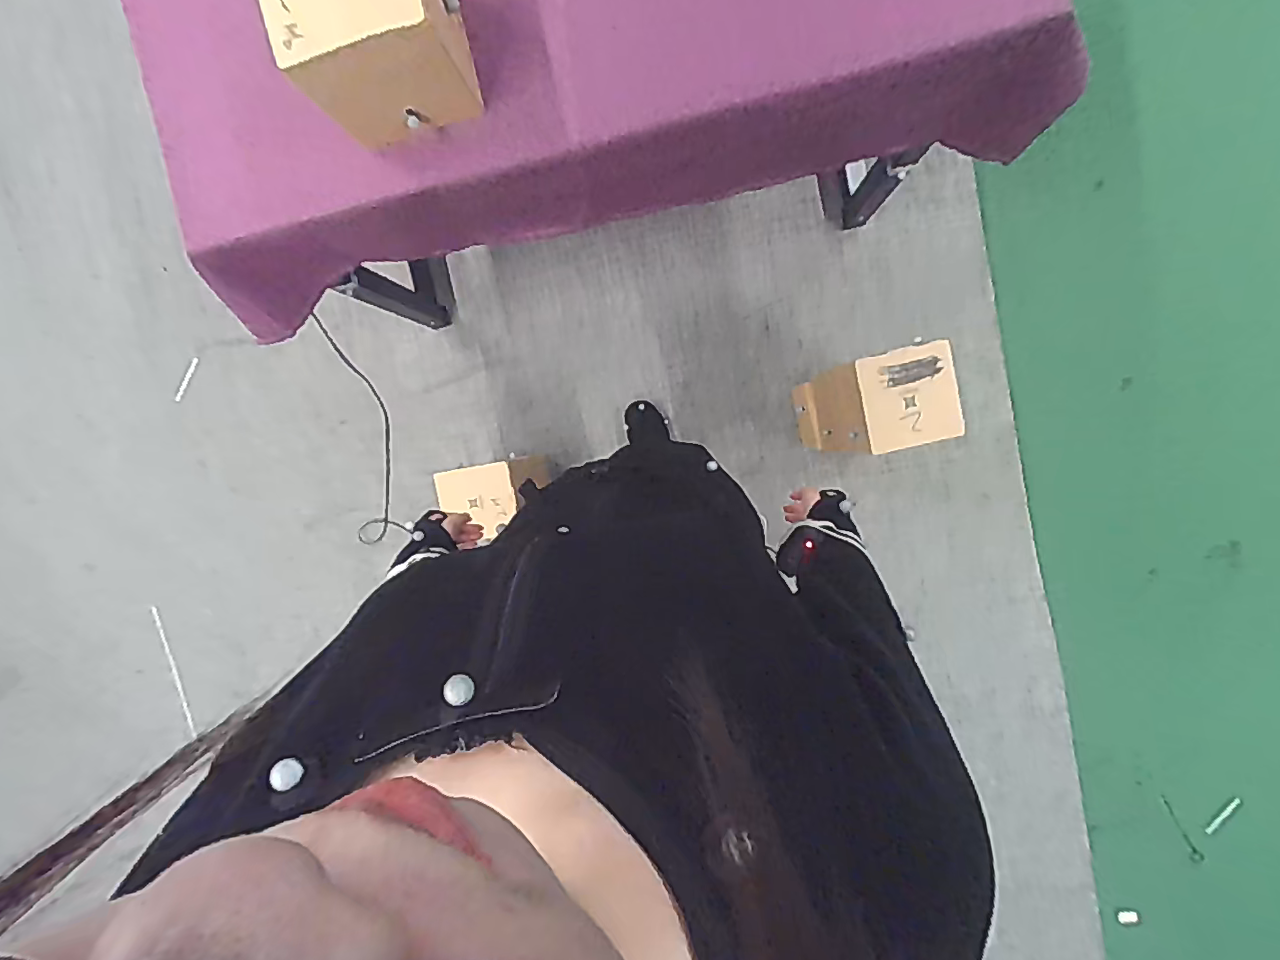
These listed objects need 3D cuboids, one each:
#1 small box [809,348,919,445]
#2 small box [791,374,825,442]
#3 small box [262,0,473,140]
[{"bbox_3d":[0.486,-0.180,1.194,0.168,0.176,0.179,-11,95,4],"label":"small box"},{"bbox_3d":[0.489,-0.194,1.356,0.179,0.176,0.168,-14,95,5],"label":"small box"},{"bbox_3d":[-0.316,-0.548,0.644,0.179,0.176,0.168,-13,94,5],"label":"small box"}]
